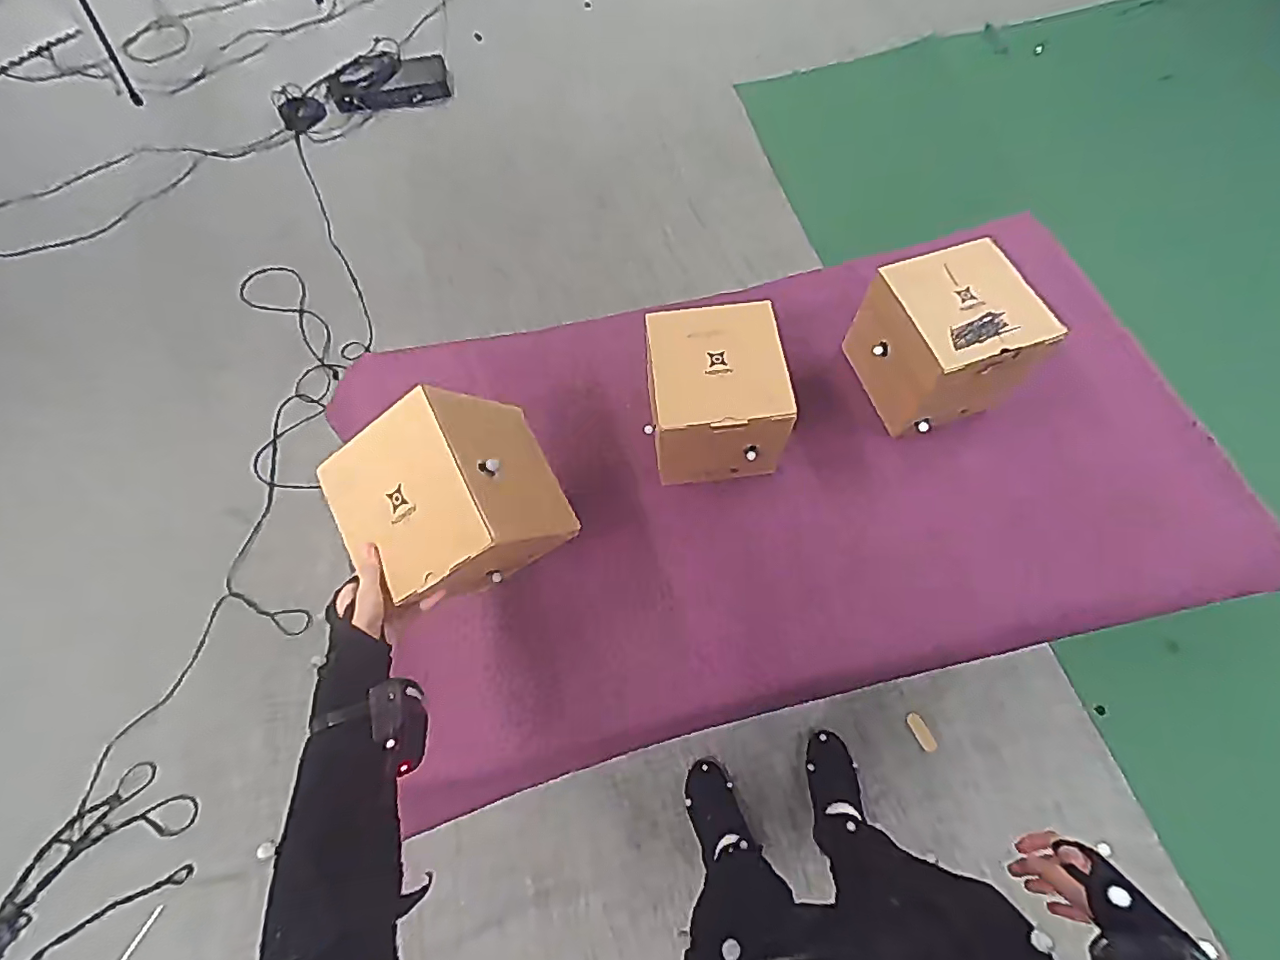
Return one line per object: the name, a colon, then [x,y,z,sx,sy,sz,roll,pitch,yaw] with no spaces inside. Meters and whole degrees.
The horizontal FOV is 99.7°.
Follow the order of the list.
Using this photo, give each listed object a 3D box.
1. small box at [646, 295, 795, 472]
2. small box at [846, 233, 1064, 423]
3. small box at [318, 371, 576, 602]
small box: [0.099,-0.119,0.733,0.168,0.176,0.179,-5,66,0]
small box: [0.414,-0.198,0.749,0.168,0.176,0.179,-16,66,-4]
small box: [-0.201,0.009,0.596,0.168,0.176,0.179,-31,79,19]
